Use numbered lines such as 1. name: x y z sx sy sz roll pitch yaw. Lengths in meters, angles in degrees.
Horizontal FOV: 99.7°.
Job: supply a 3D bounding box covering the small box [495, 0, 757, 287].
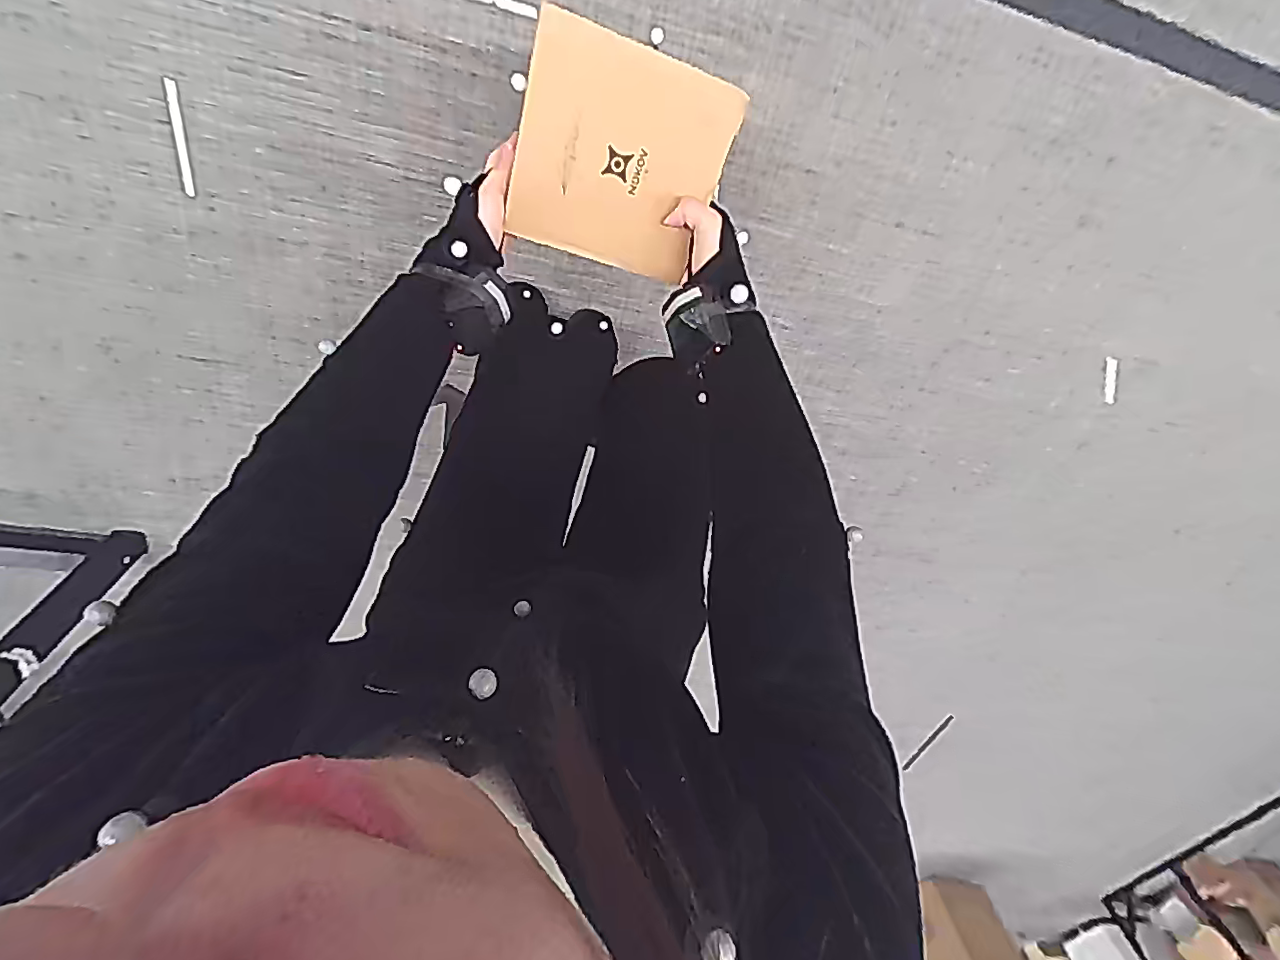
1. small box: -0.025 -0.309 0.498 0.179 0.176 0.168 11 128 -18
